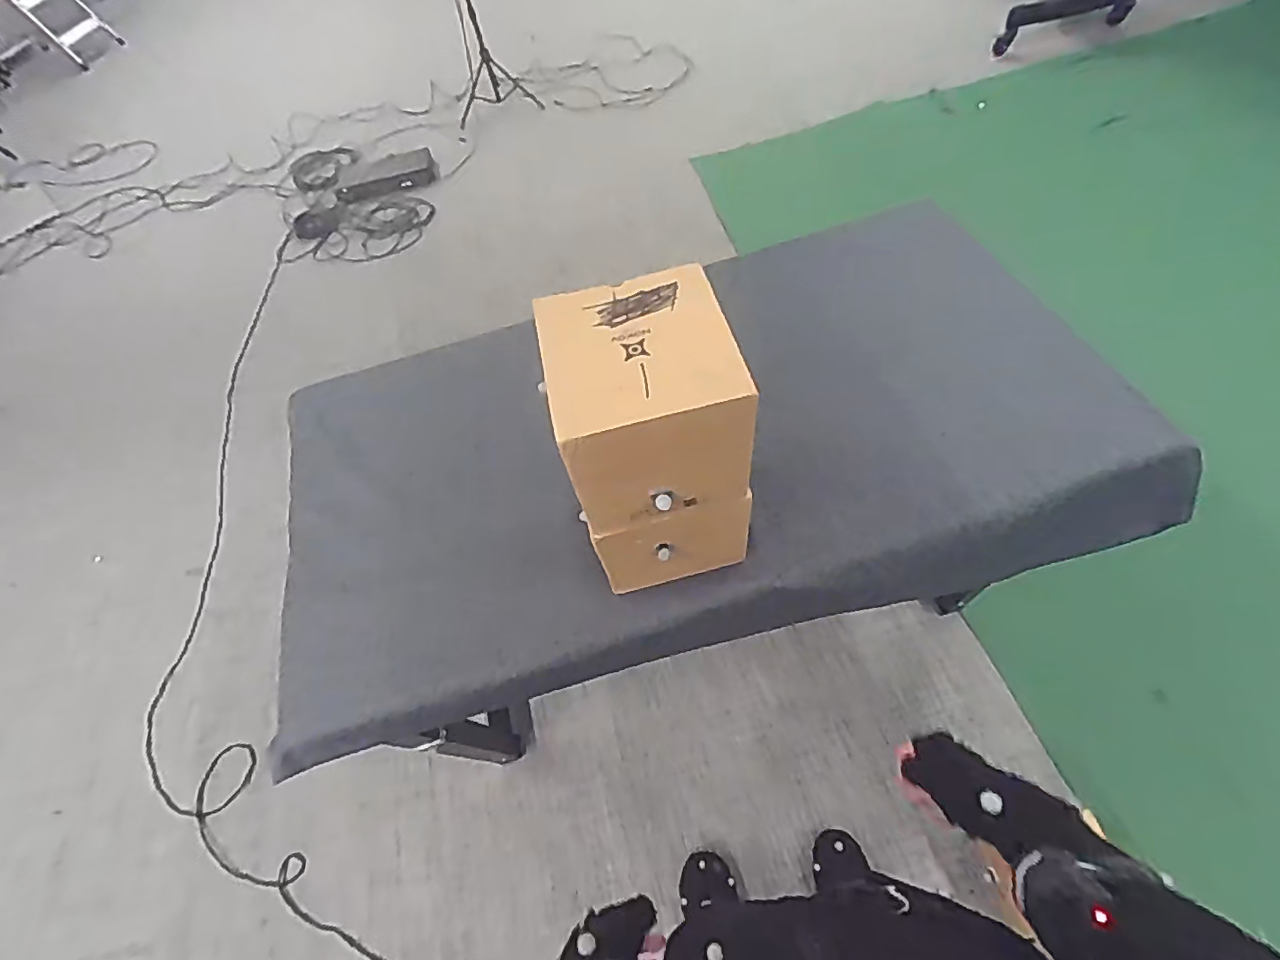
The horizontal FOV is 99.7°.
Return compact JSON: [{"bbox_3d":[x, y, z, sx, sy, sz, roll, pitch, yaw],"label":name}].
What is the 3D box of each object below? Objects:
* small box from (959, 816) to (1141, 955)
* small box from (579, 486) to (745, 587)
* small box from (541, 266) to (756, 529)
[{"bbox_3d":[0.741,0.738,1.003,0.179,0.176,0.168,-16,57,-1],"label":"small box"},{"bbox_3d":[0.023,0.016,0.674,0.179,0.176,0.168,-14,58,-1],"label":"small box"},{"bbox_3d":[0.006,-0.076,0.538,0.168,0.176,0.179,-12,58,-1],"label":"small box"}]
